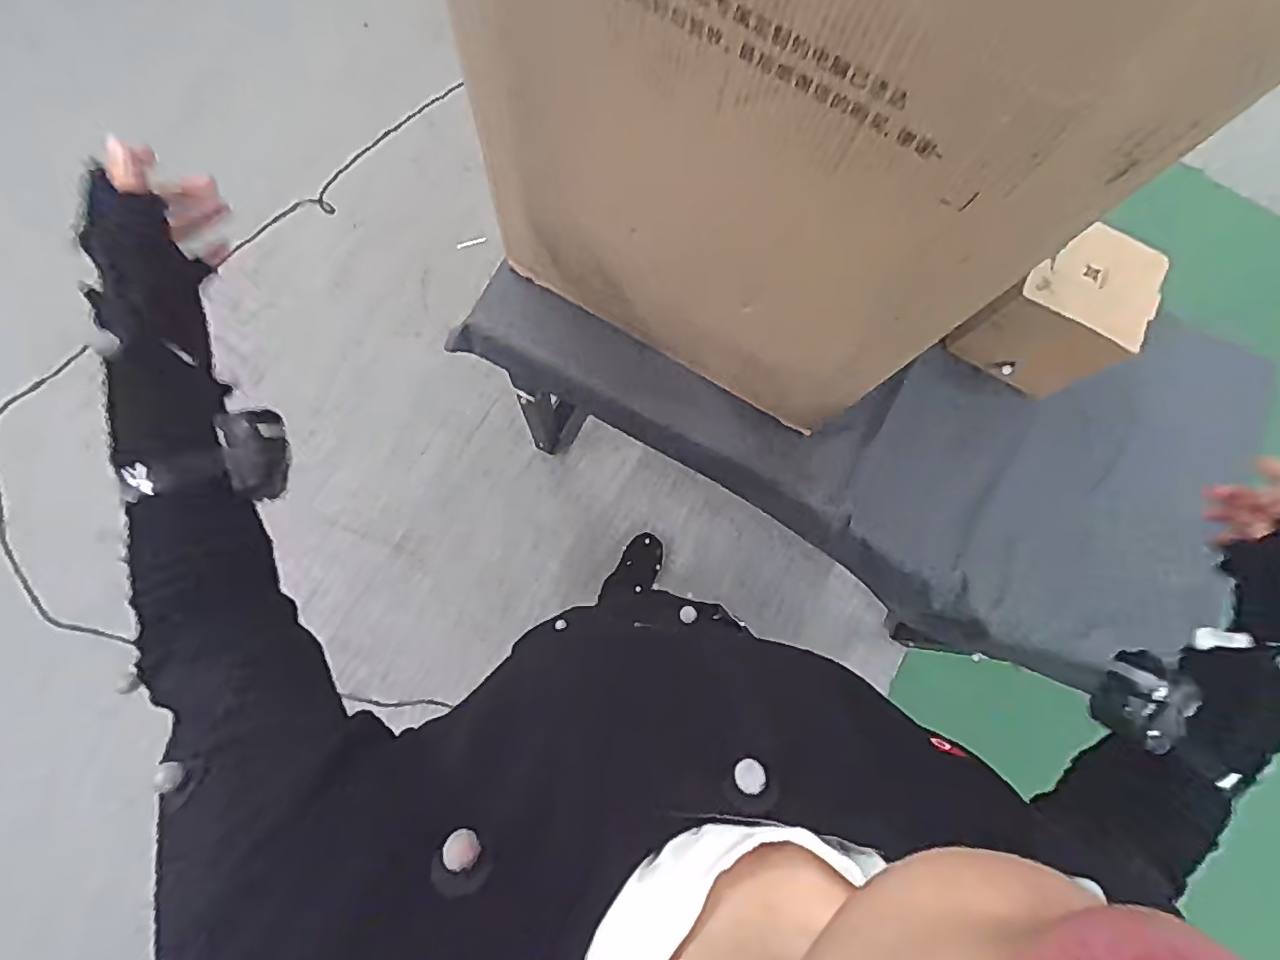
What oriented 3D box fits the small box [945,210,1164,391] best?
[{"bbox_3d":[0.614,-0.256,0.819,0.179,0.176,0.168,29,77,2],"label":"small box"}]
